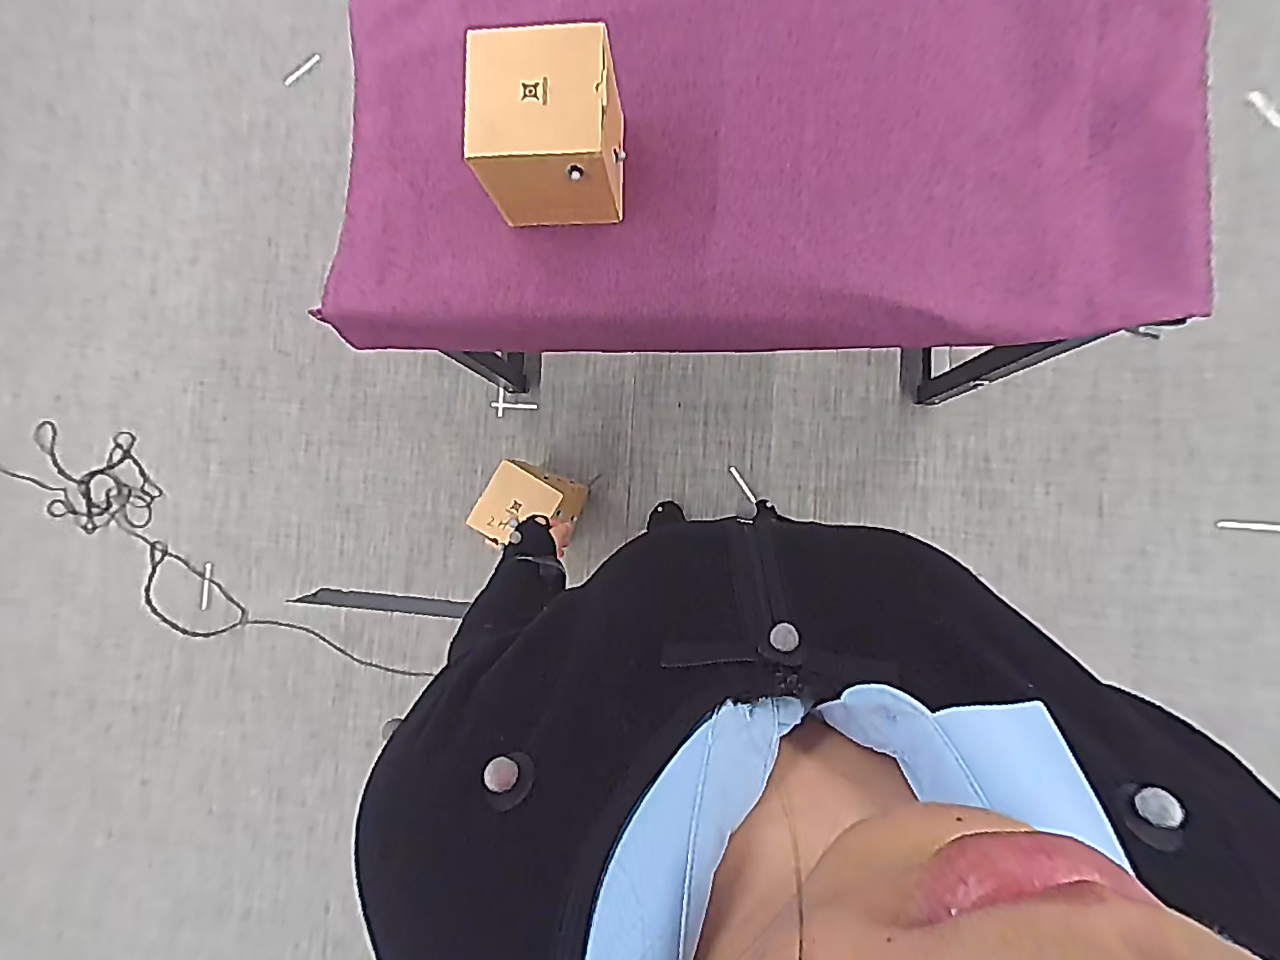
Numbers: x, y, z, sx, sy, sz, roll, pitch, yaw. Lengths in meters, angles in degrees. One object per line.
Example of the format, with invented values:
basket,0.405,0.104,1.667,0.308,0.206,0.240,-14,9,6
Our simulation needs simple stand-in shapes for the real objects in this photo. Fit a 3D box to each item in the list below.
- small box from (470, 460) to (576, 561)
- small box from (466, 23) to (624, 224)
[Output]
small box,-0.270,0.070,1.298,0.168,0.176,0.179,31,92,5
small box,-0.120,-0.470,0.740,0.179,0.176,0.168,0,87,5
